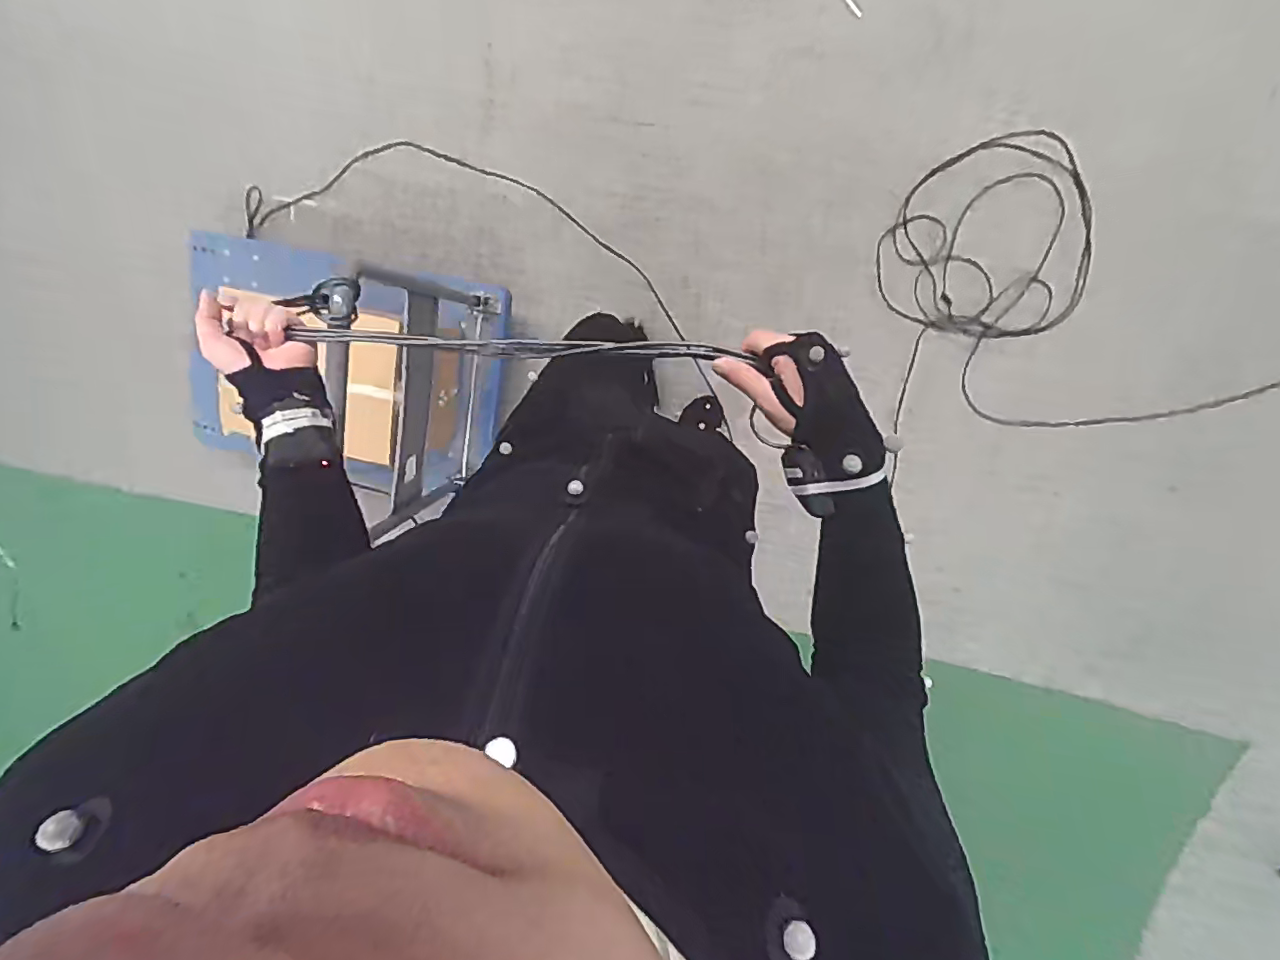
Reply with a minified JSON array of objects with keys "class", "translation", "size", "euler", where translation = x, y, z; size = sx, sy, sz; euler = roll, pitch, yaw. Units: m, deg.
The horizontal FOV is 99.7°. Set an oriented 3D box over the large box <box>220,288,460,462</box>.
[{"class":"large box","translation":[-0.691,-0.253,1.296],"size":[0.408,0.320,0.320],"euler":[12,103,4]}]
